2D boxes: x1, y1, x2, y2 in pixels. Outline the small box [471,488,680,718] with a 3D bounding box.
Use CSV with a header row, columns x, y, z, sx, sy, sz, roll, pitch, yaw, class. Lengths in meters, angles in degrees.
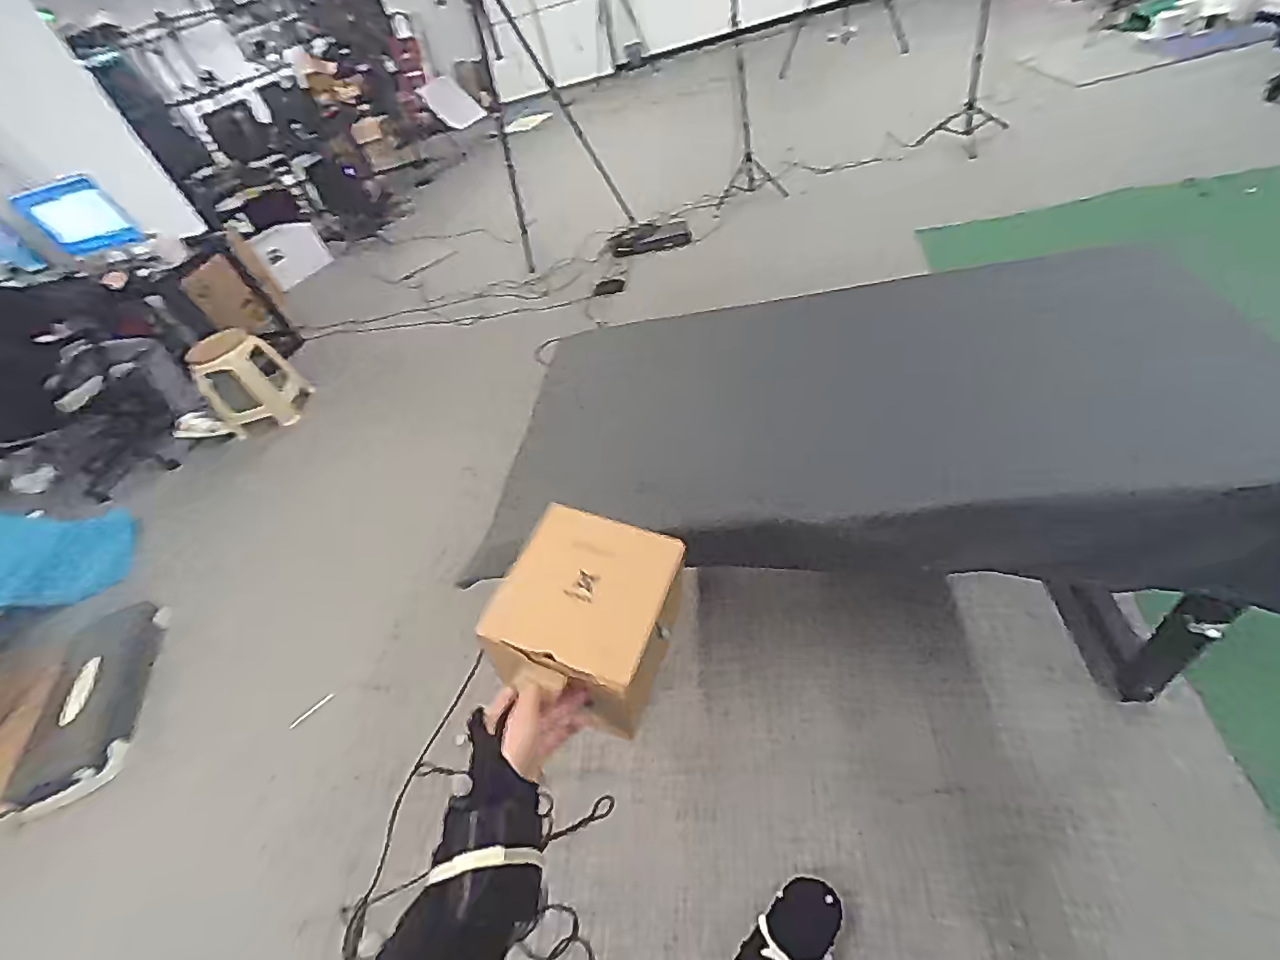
x,y,z,sx,sy,sz,roll,pitch,yaw,class
-0.057,0.142,0.615,0.168,0.176,0.179,15,52,14,small box
